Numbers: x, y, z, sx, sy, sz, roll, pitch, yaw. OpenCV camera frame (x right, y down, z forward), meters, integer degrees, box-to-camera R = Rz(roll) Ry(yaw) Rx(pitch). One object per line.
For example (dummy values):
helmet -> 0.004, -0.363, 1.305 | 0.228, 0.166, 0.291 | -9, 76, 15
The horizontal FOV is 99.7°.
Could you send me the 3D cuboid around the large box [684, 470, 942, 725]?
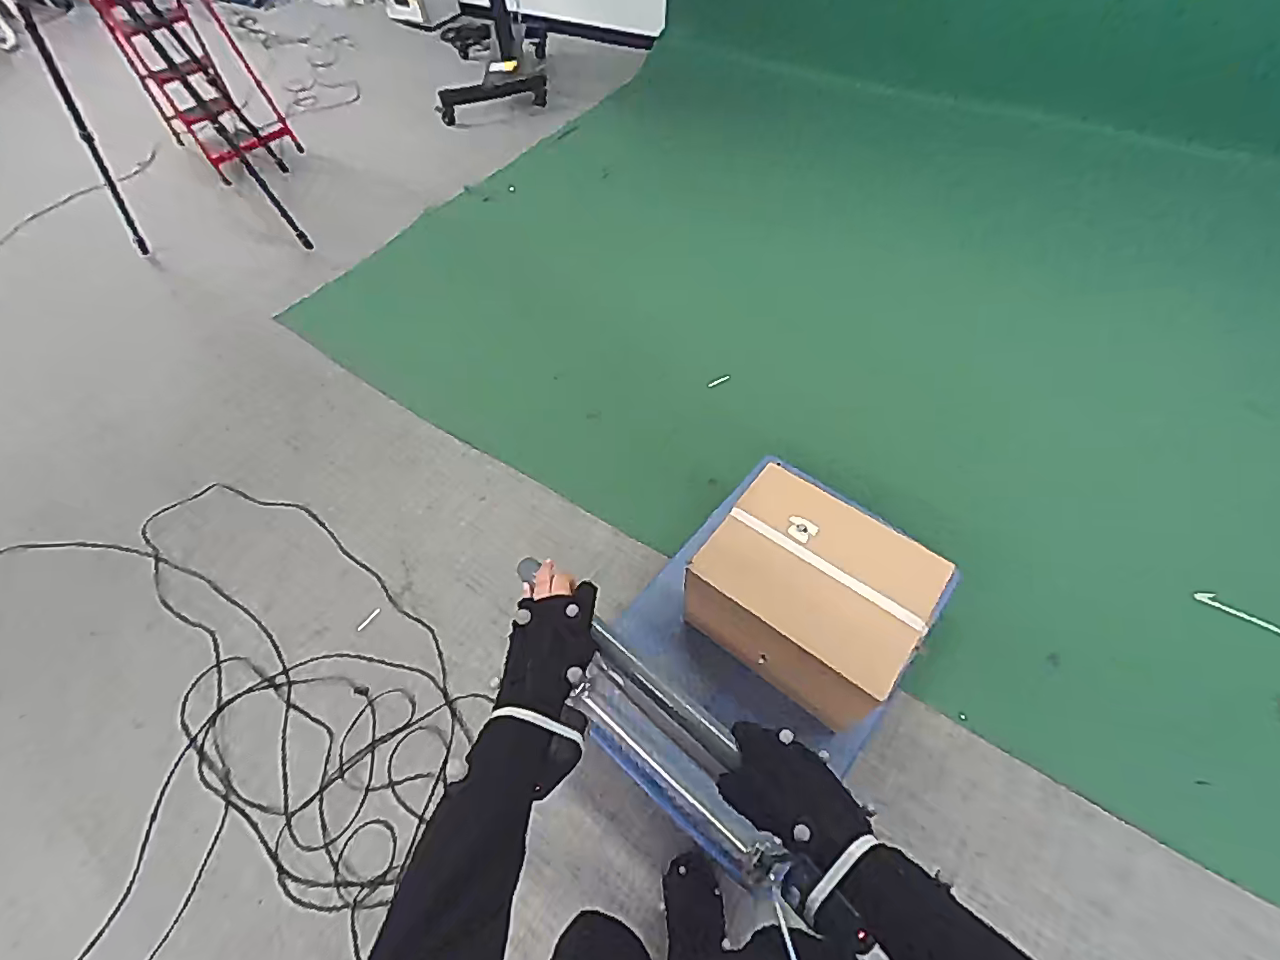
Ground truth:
large box -> 0.345, 0.254, 1.169 | 0.408, 0.320, 0.320 | 31, 63, 23
